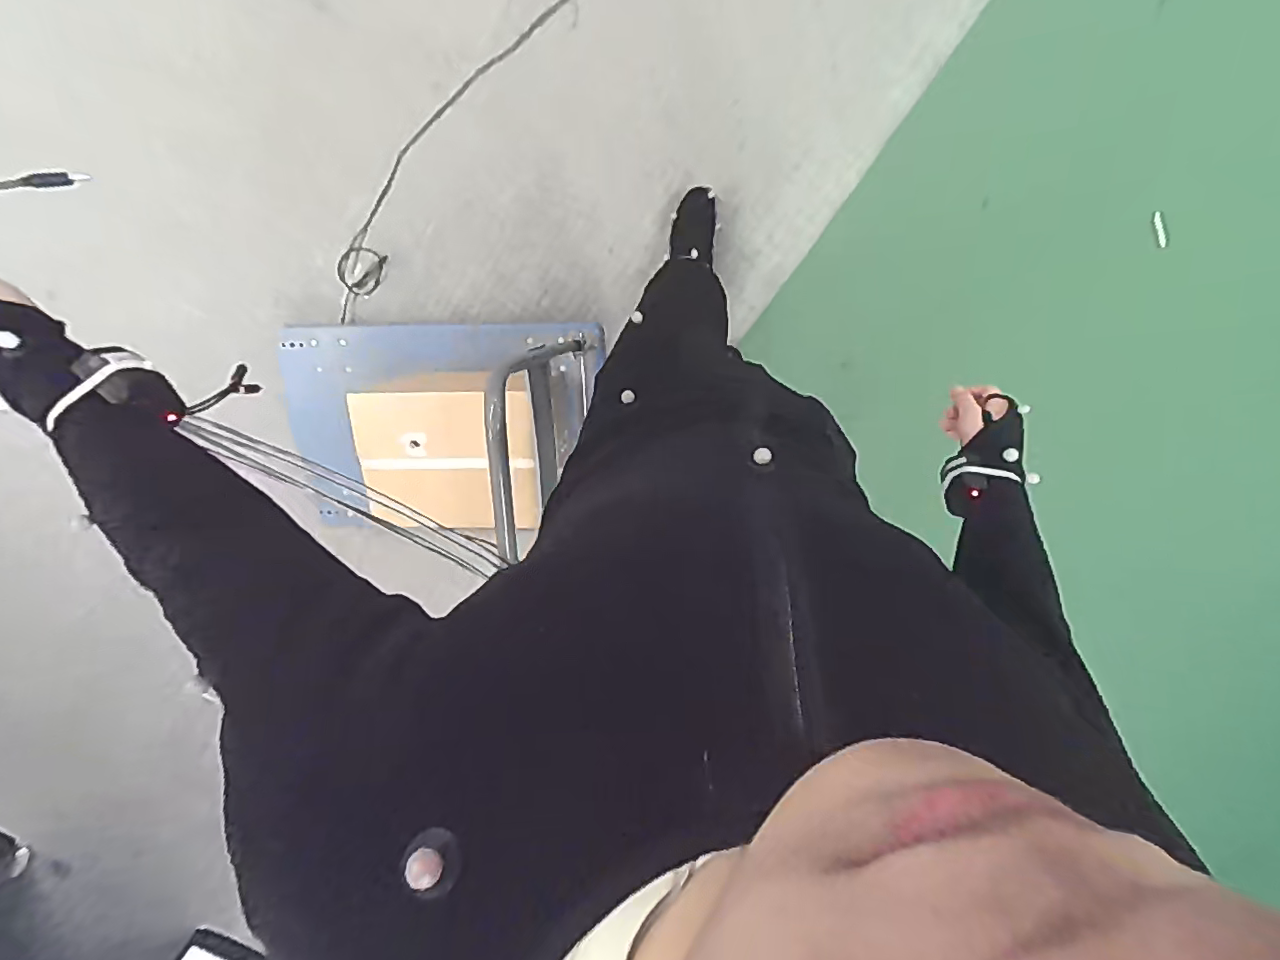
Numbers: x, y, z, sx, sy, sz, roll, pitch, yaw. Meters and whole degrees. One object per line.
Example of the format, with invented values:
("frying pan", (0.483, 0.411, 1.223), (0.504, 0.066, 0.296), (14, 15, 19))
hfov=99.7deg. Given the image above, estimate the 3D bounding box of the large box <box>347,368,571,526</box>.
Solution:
("large box", (-0.405, -0.091, 1.313), (0.408, 0.320, 0.320), (0, 109, 5))
